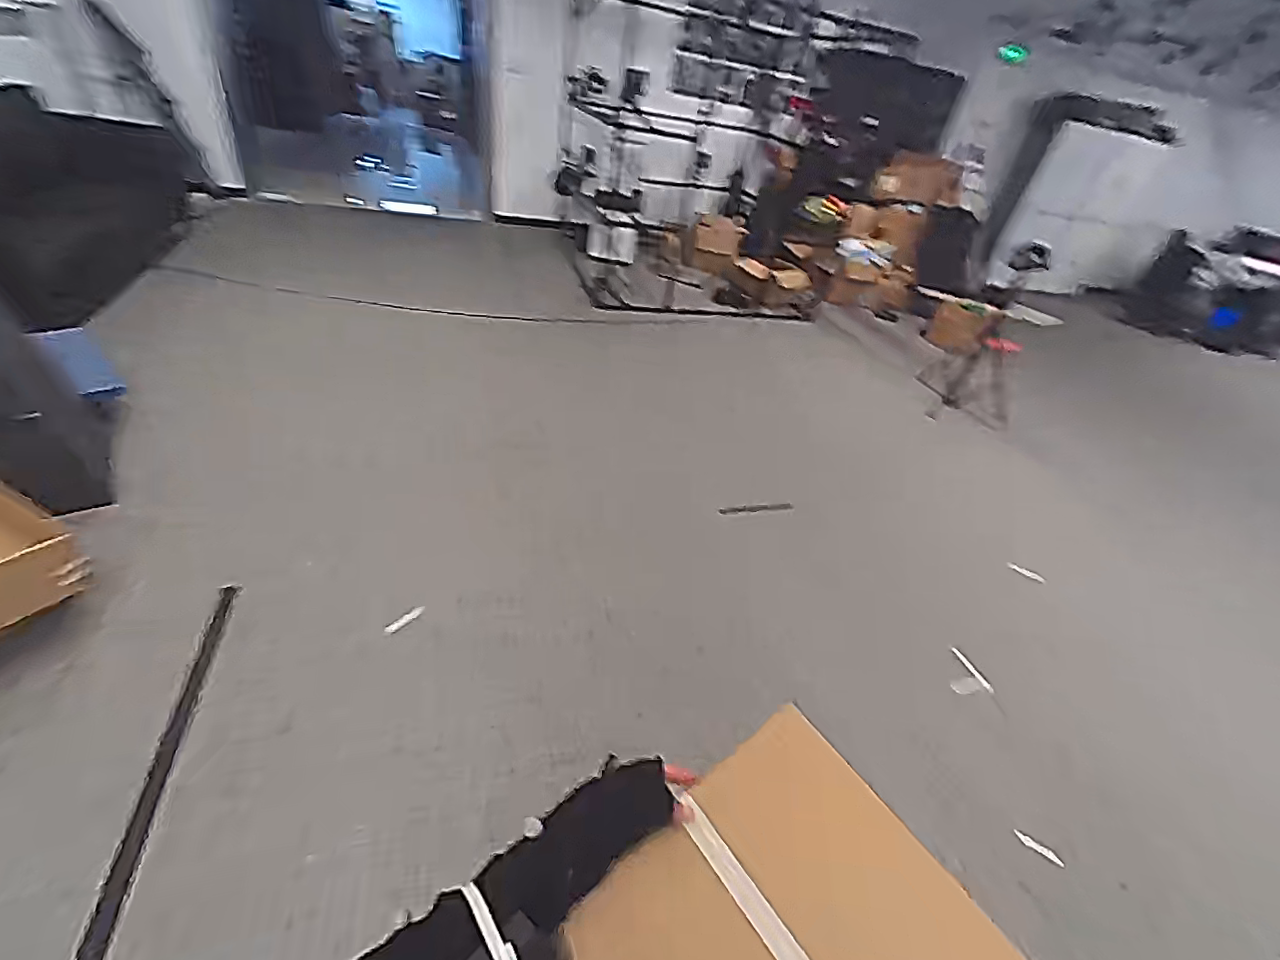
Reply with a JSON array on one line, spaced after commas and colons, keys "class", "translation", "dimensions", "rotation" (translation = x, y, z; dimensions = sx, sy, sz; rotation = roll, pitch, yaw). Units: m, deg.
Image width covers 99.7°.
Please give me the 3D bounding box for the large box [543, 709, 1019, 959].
[{"class": "large box", "translation": [0.142, 0.525, 0.523], "dimensions": [0.320, 0.320, 0.408], "rotation": [-27, 56, -28]}]
